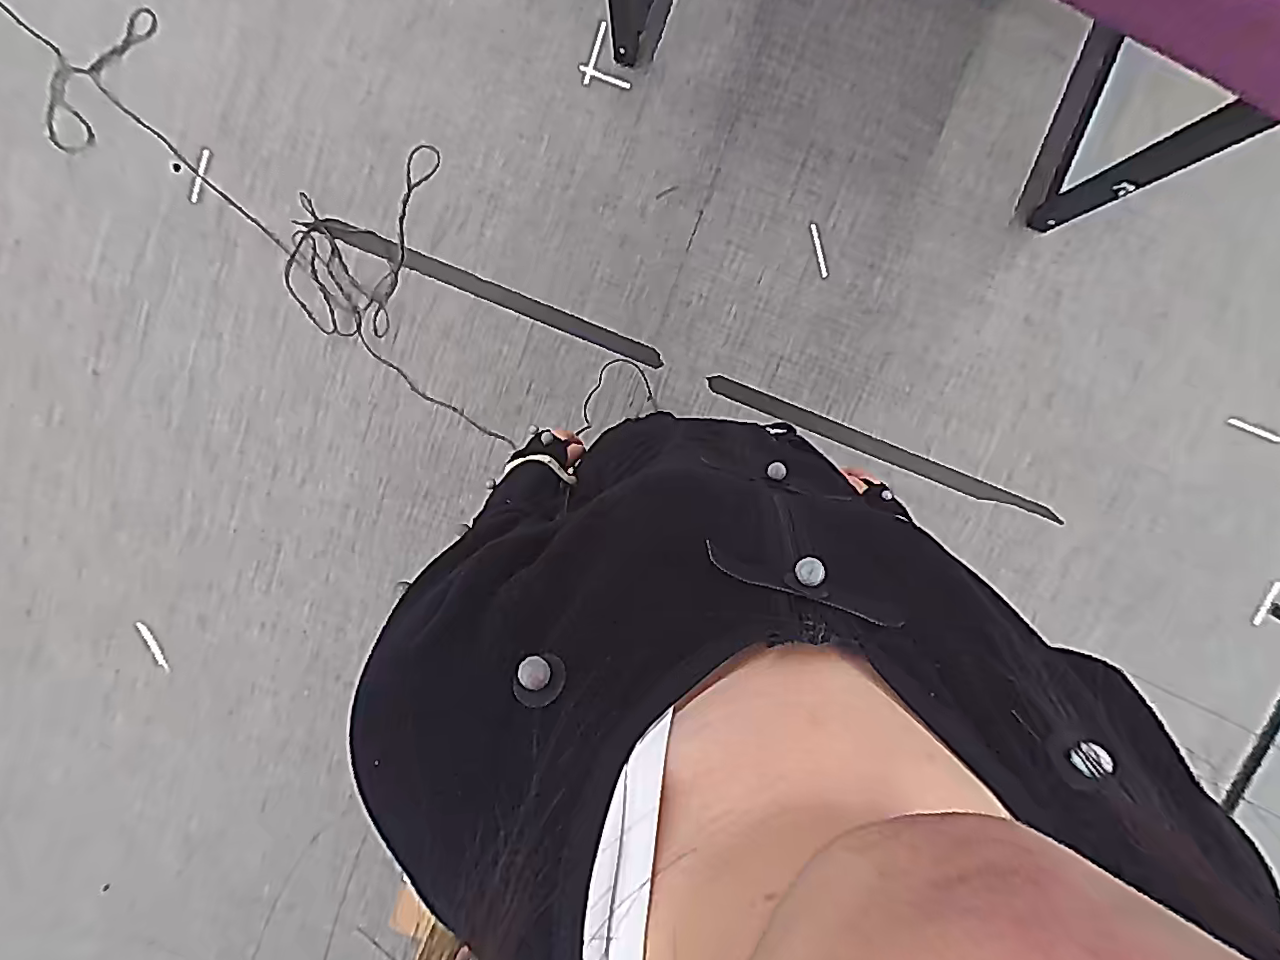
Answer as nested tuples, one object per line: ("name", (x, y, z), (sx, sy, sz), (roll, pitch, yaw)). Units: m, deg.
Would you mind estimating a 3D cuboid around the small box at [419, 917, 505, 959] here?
("small box", (-0.386, 1.047, 1.096), (0.168, 0.176, 0.179), (18, 98, -1))
